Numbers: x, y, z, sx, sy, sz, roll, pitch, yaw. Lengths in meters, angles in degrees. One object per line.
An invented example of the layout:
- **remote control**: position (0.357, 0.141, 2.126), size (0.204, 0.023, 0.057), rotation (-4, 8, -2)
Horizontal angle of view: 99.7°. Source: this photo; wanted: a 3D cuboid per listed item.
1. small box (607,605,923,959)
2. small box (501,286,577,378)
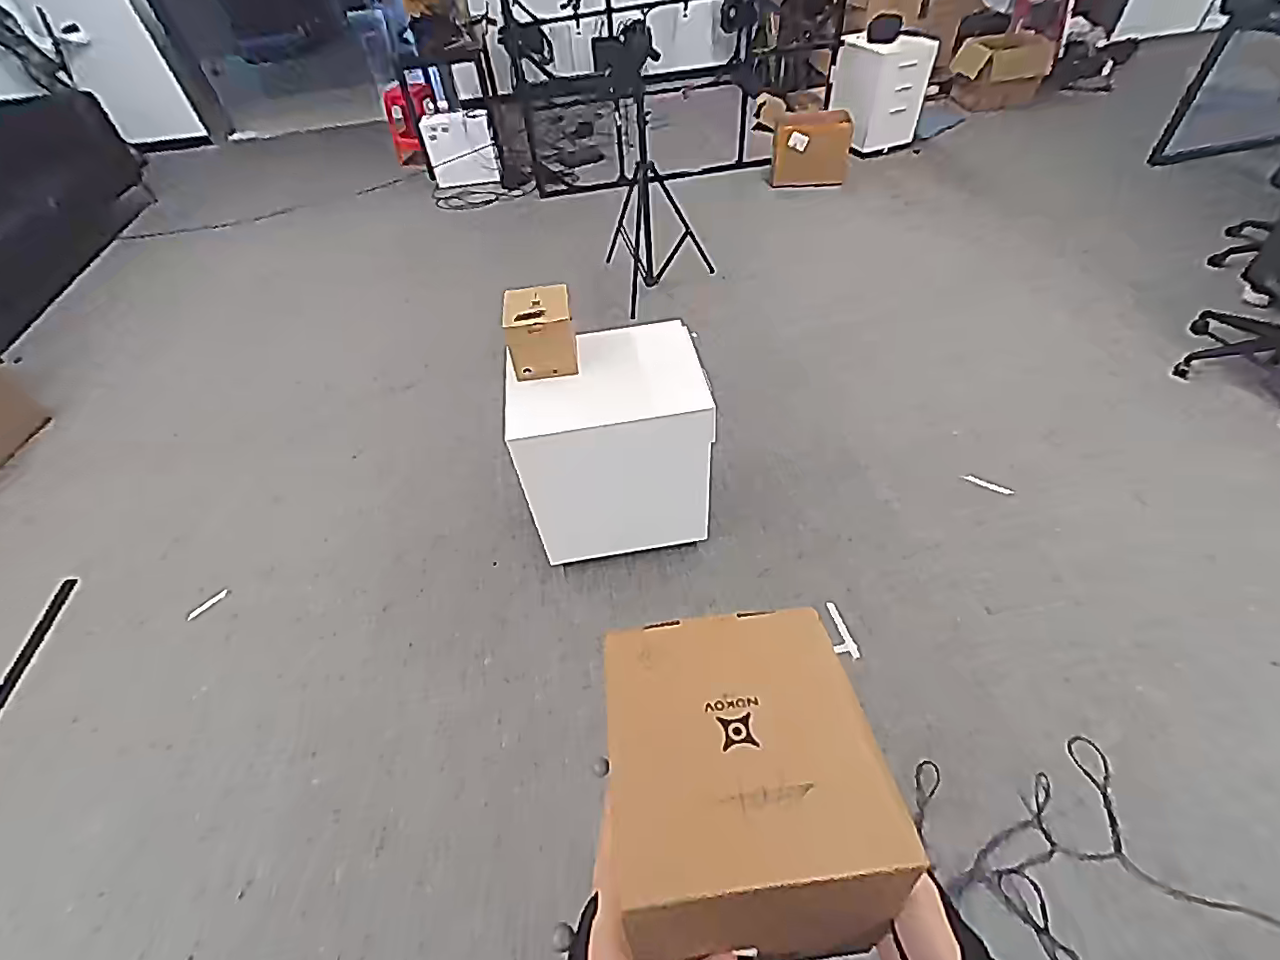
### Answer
- **small box**: position (0.066, 0.219, 0.394), size (0.168, 0.176, 0.179), rotation (-6, 37, -2)
- **small box**: position (-0.262, -0.384, 1.425), size (0.168, 0.176, 0.179), rotation (-8, 49, -2)
